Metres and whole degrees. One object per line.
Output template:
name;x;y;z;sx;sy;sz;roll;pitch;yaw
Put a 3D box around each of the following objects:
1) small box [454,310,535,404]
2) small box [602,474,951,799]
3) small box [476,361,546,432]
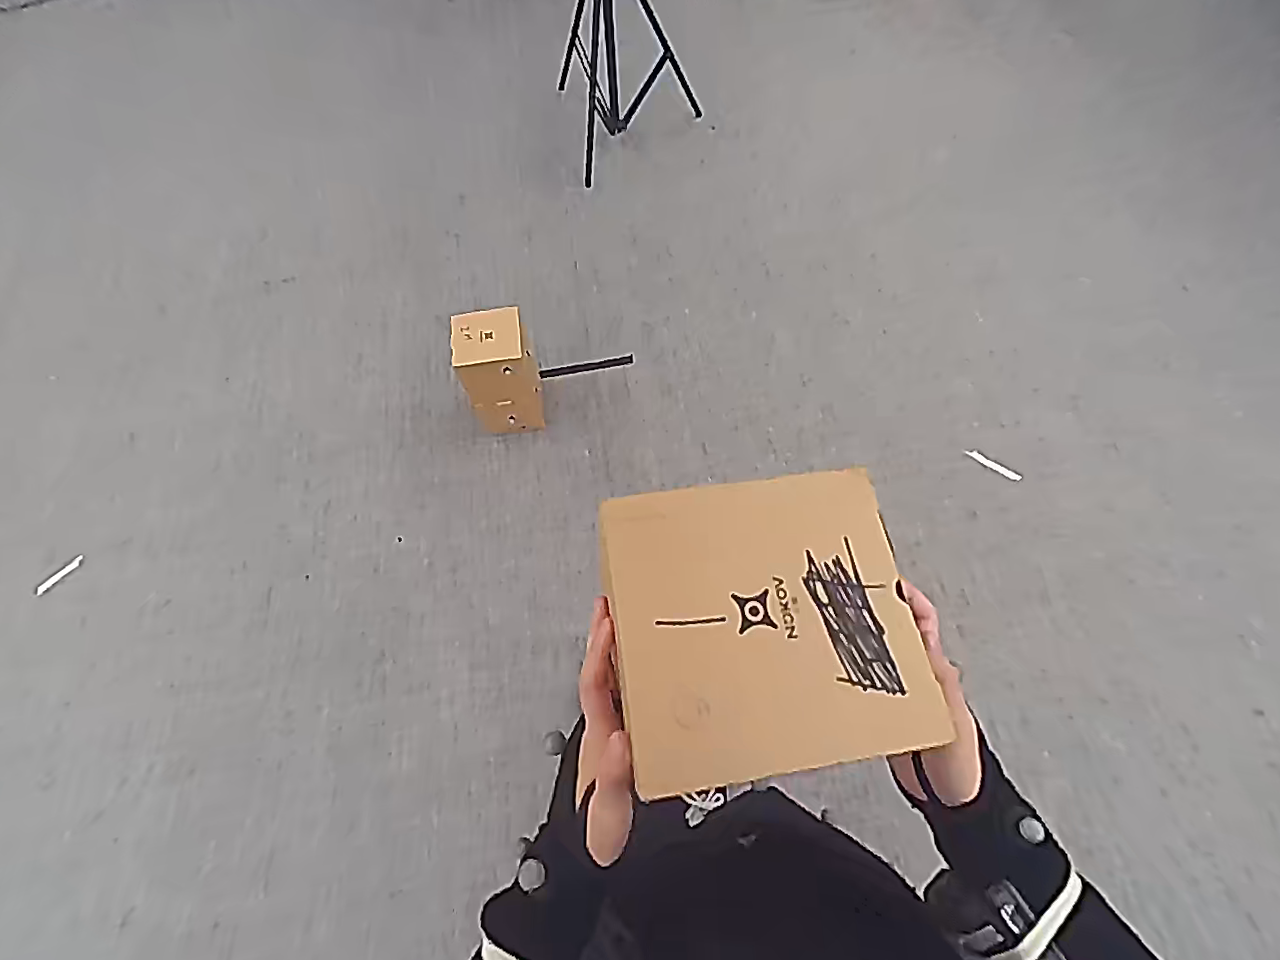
small box;-0.380;-0.322;1.433;0.179;0.176;0.168;-9;65;-2
small box;0.068;0.110;0.385;0.179;0.176;0.168;-7;66;-7
small box;-0.376;-0.252;1.583;0.168;0.176;0.179;-8;67;-2
